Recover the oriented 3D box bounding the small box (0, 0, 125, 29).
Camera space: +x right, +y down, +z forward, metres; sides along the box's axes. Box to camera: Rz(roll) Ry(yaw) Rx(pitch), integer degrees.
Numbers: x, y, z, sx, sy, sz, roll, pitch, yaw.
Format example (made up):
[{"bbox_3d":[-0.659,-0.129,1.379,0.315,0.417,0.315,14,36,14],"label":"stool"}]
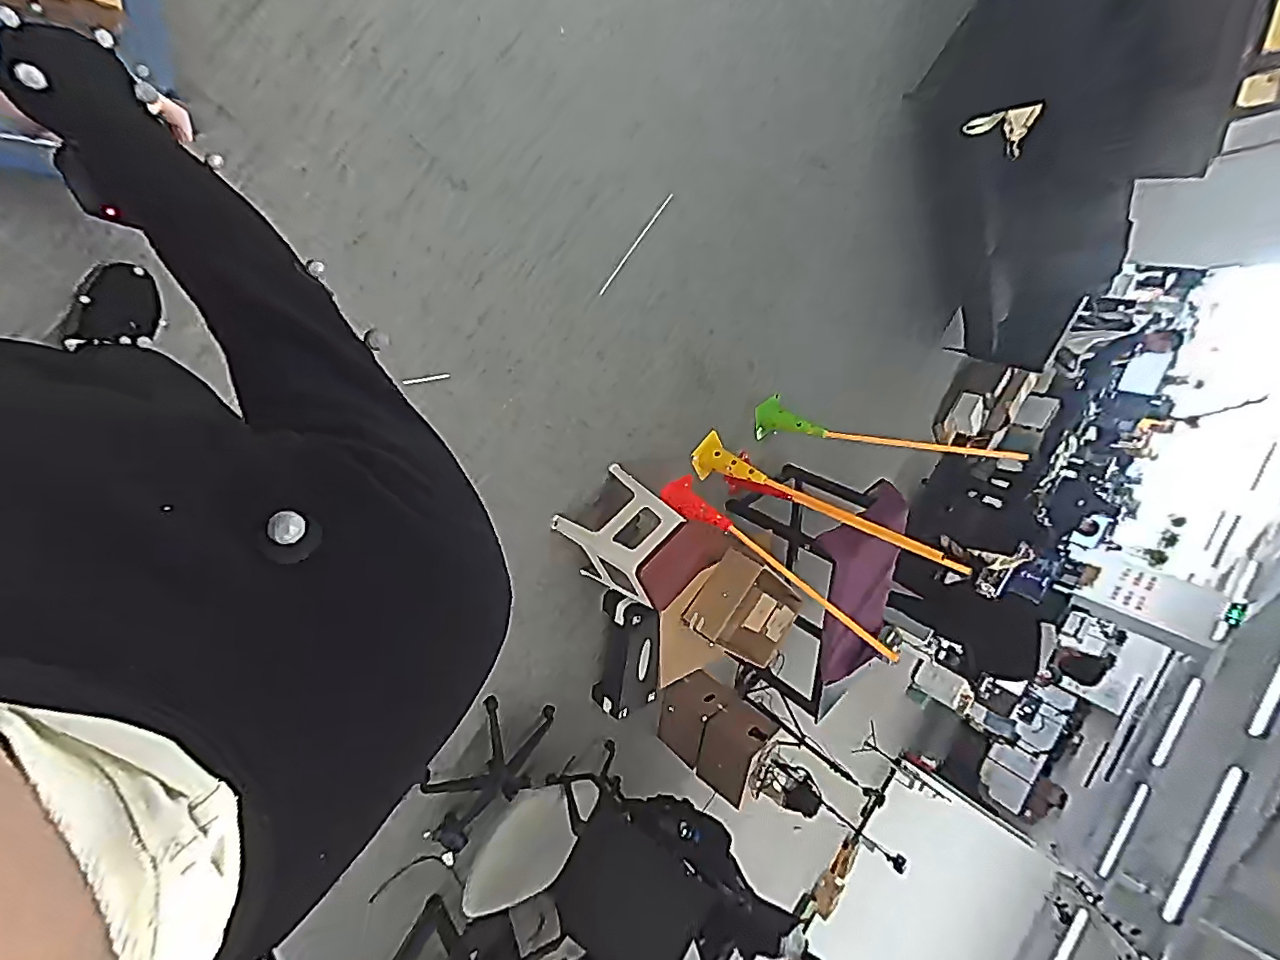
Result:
[{"bbox_3d":[-0.862,-0.784,0.763,0.168,0.176,0.179,-14,121,-40],"label":"small box"}]
